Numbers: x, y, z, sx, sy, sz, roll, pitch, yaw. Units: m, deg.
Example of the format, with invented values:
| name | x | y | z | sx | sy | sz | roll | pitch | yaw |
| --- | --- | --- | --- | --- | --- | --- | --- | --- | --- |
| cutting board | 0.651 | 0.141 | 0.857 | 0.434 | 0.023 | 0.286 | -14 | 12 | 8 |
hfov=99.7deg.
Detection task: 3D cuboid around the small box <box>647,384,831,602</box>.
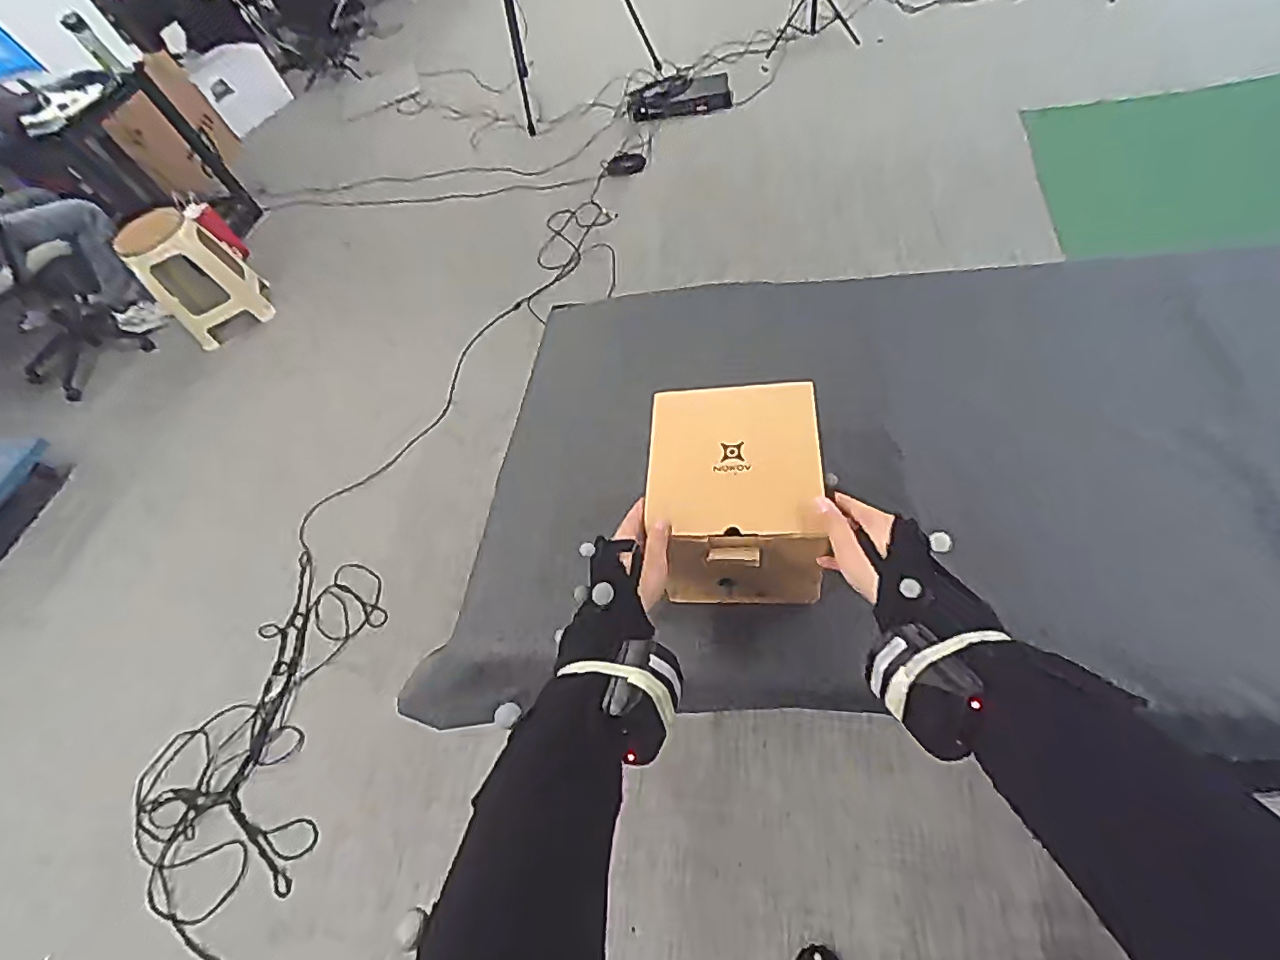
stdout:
| name | x | y | z | sx | sy | sz | roll | pitch | yaw |
| --- | --- | --- | --- | --- | --- | --- | --- | --- | --- |
| small box | 0.107 | 0.020 | 0.589 | 0.168 | 0.176 | 0.179 | -3 | 58 | 12 |
